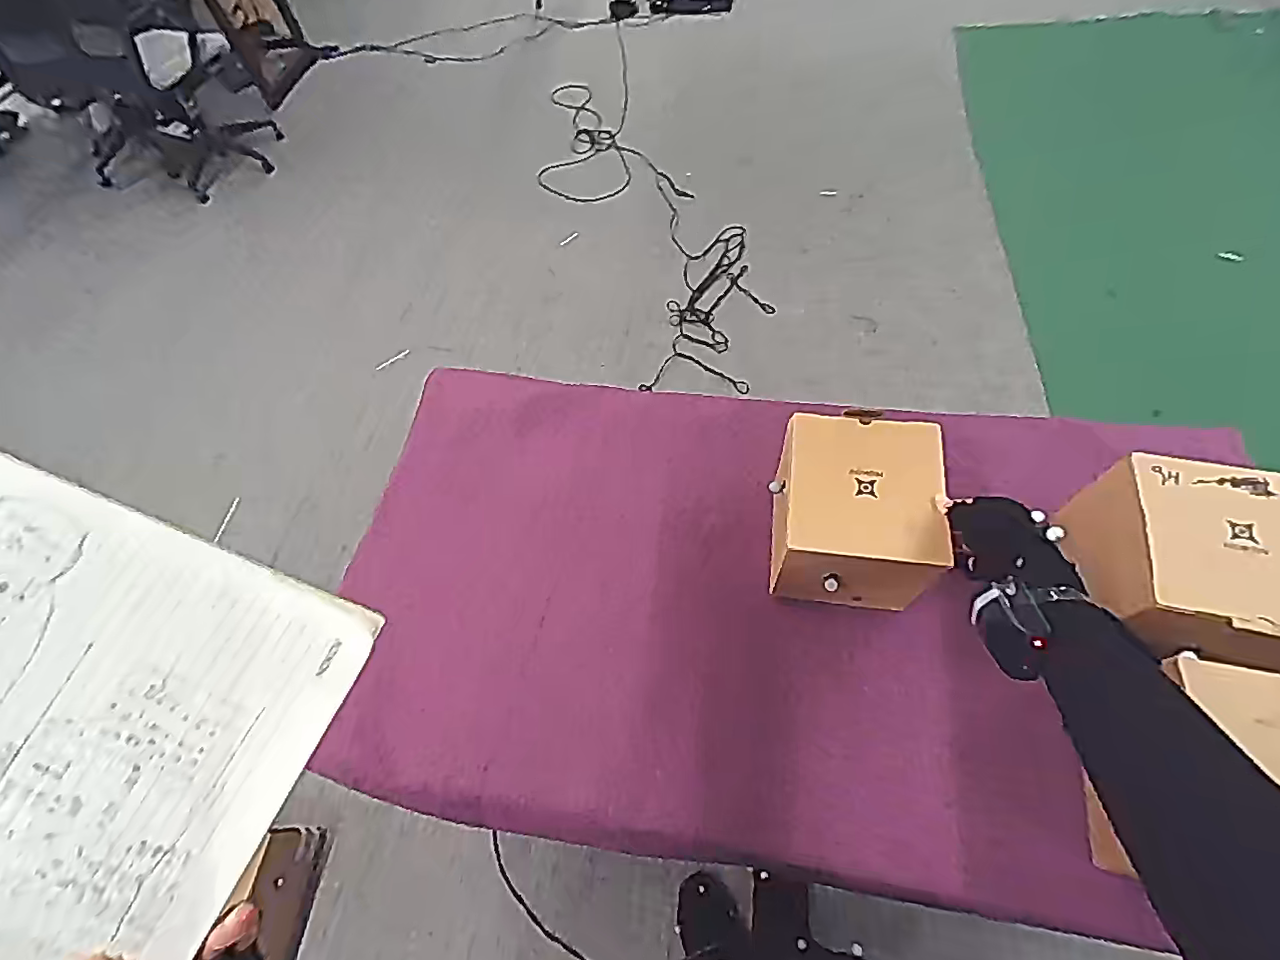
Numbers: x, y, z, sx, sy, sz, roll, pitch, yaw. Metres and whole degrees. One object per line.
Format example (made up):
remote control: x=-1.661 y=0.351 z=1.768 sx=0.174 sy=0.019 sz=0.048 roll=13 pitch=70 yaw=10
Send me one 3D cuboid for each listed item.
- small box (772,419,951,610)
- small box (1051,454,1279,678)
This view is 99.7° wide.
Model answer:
small box: x=0.255 y=0.047 z=0.662 sx=0.168 sy=0.176 sz=0.179 roll=5 pitch=60 yaw=10
small box: x=0.583 y=0.099 z=0.586 sx=0.168 sy=0.176 sz=0.179 roll=12 pitch=63 yaw=13
